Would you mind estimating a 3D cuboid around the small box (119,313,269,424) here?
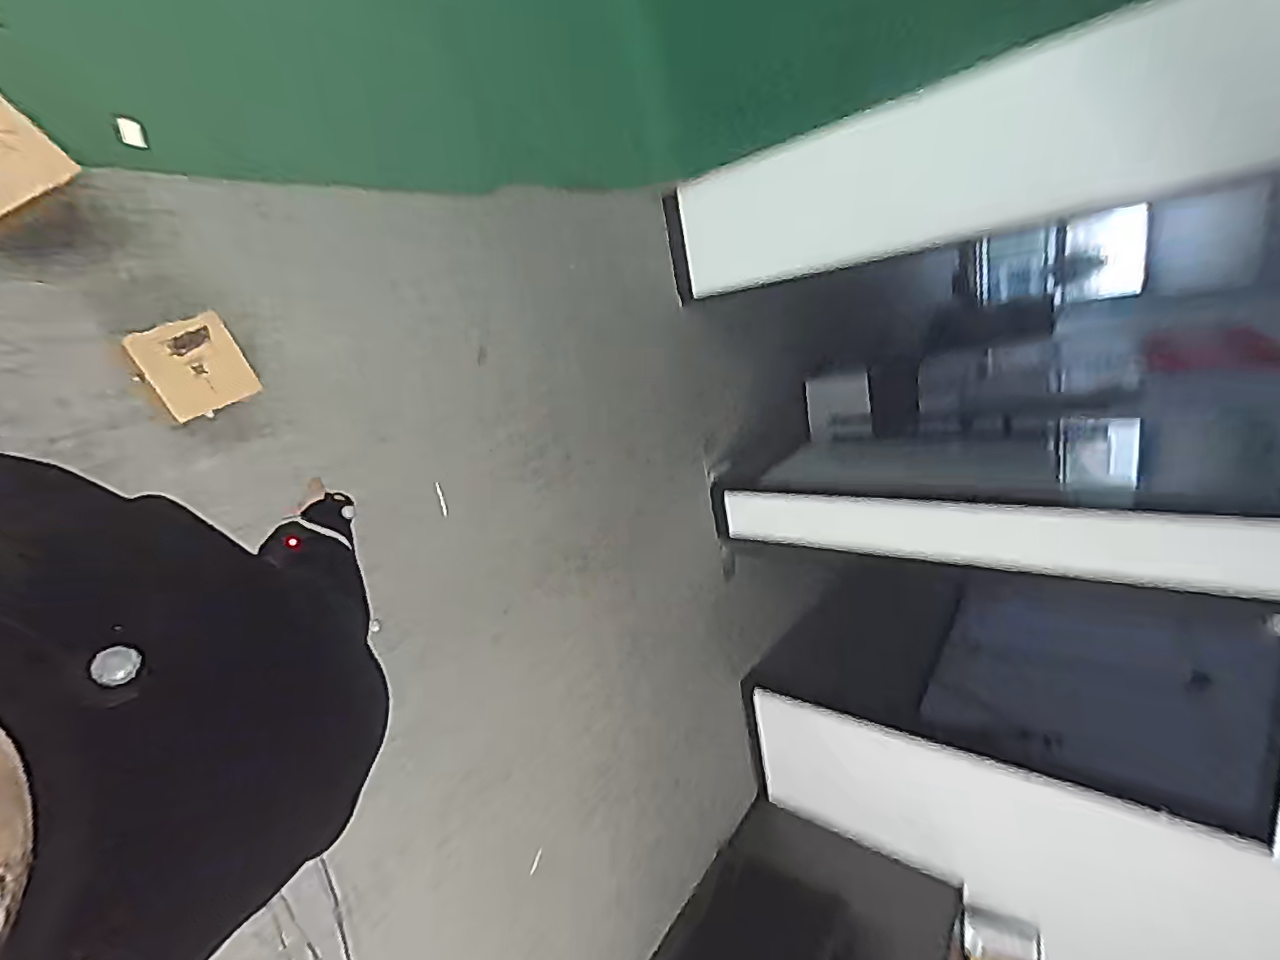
[{"bbox_3d":[-0.930,-0.227,1.127,0.168,0.176,0.179,-41,122,-40],"label":"small box"}]
